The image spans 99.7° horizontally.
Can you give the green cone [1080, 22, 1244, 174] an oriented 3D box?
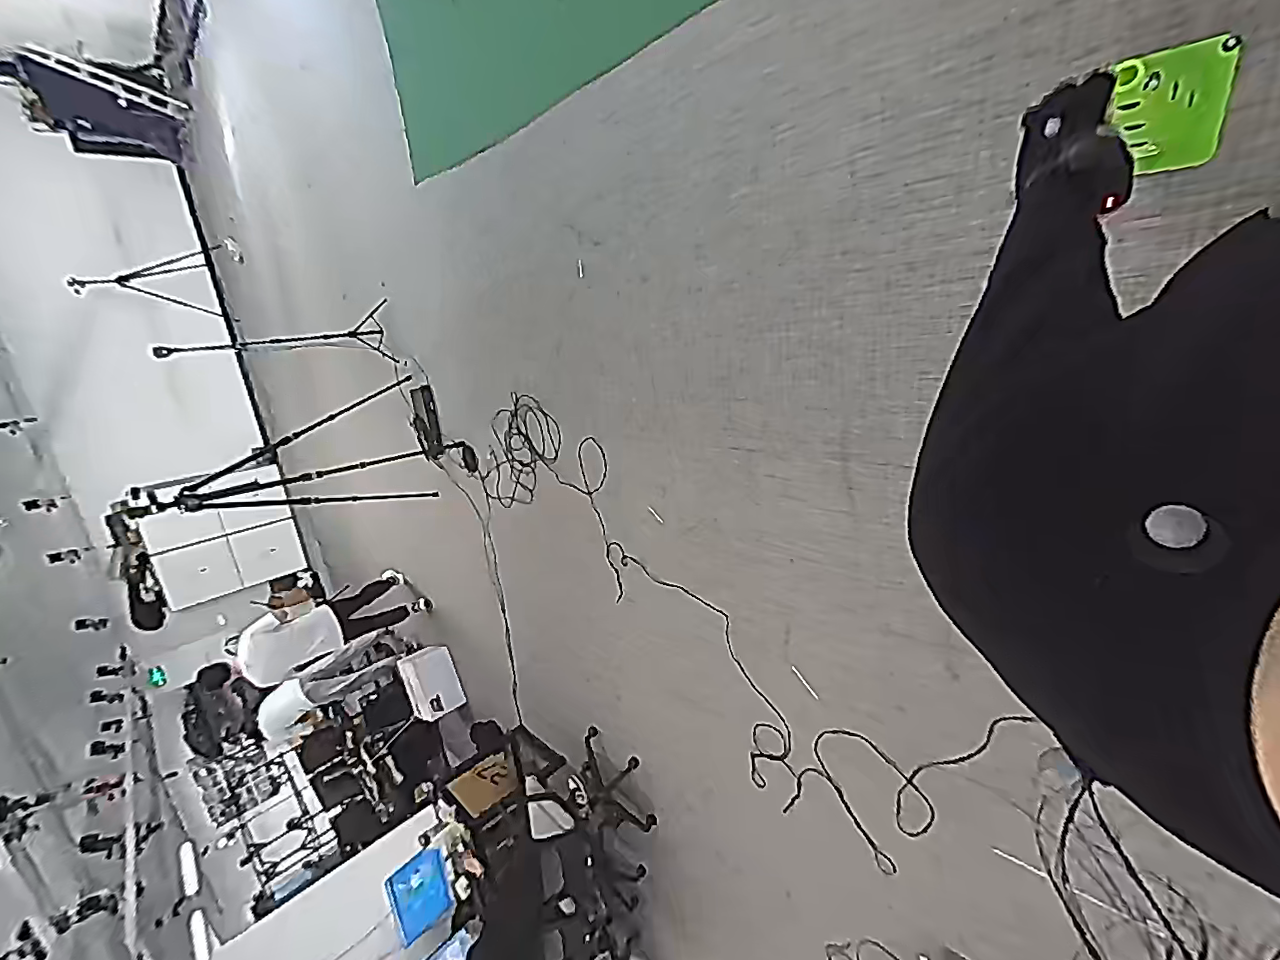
[{"bbox_3d":[0.833,-0.648,0.896,0.200,0.368,0.202,14,117,45],"label":"green cone"}]
